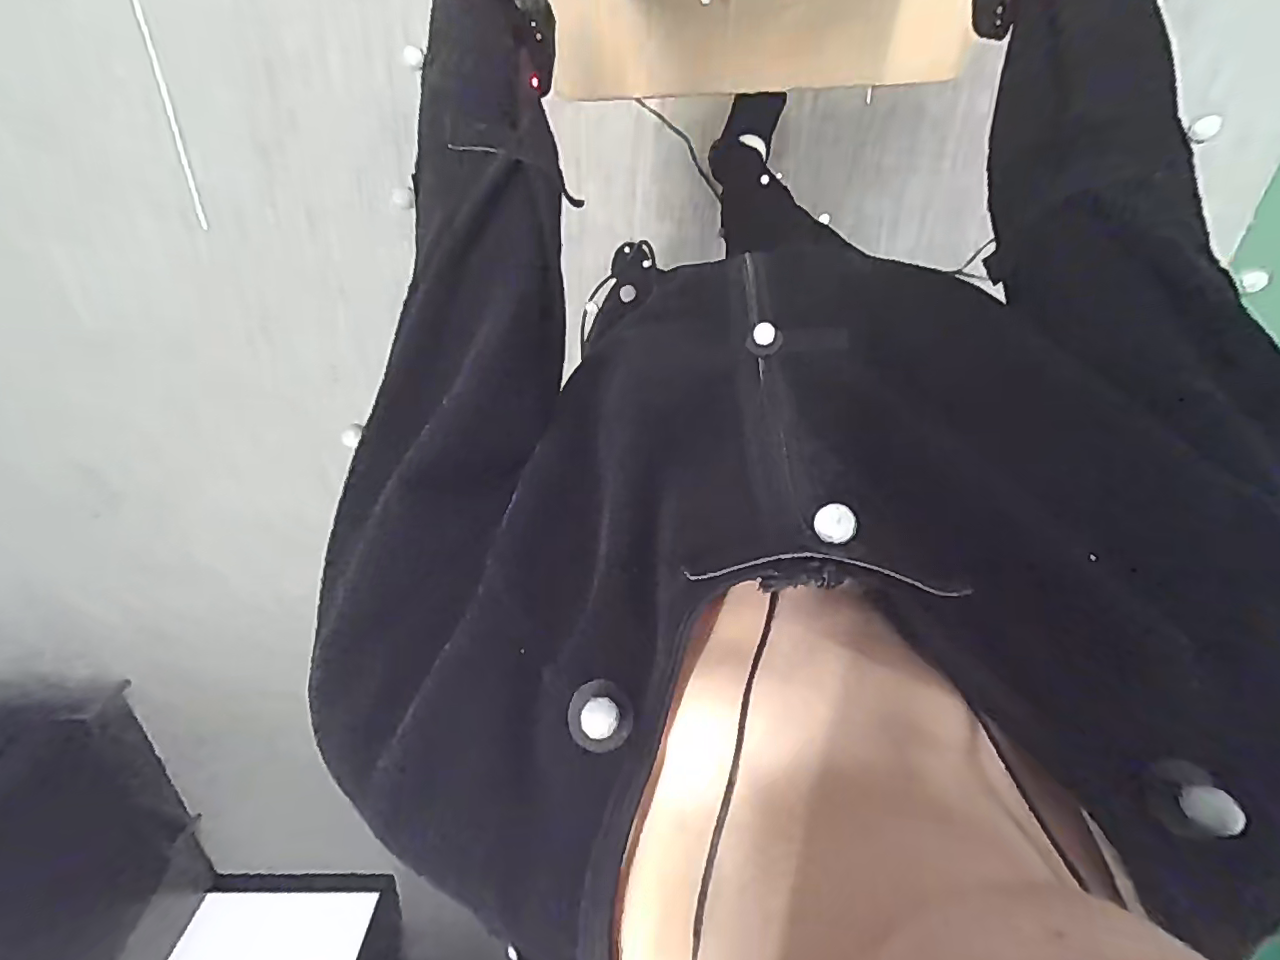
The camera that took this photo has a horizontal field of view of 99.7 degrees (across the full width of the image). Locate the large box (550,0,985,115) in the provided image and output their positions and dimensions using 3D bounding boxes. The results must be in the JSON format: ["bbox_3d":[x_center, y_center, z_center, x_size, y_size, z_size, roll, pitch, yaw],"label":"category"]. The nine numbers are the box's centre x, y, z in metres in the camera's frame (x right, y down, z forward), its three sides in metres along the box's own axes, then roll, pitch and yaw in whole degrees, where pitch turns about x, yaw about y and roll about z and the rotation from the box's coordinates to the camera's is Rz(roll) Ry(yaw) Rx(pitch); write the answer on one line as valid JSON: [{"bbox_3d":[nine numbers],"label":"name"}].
[{"bbox_3d":[0.105,-0.583,0.557,0.408,0.320,0.320,-4,128,-1],"label":"large box"}]
